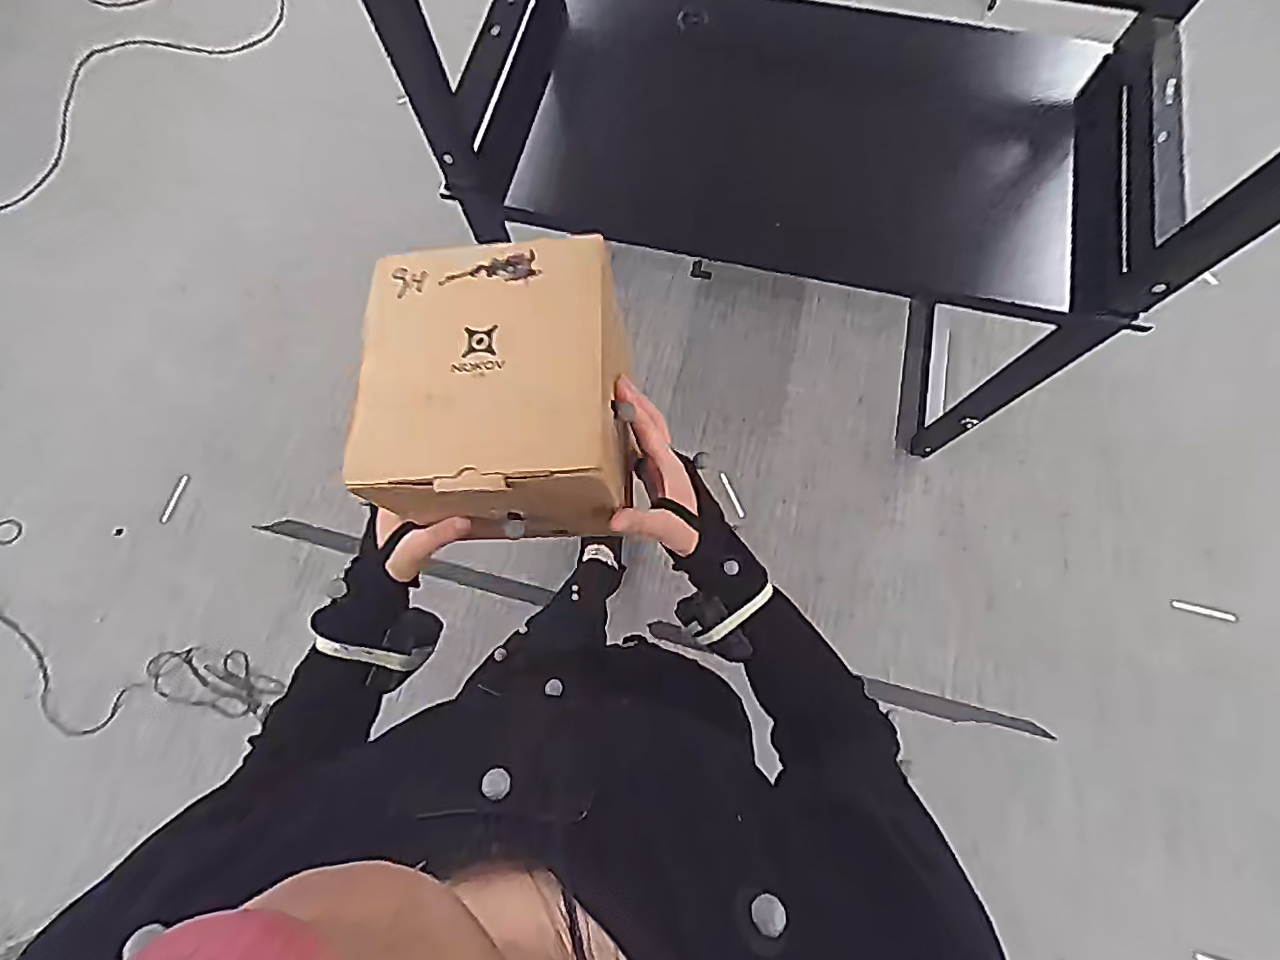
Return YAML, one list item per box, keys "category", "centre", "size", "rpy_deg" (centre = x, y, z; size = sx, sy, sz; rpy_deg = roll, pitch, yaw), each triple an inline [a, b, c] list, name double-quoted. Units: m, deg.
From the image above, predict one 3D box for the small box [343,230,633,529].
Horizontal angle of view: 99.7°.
- category: "small box"
  centre: [-0.096, -0.059, 0.424]
  size: [0.168, 0.176, 0.179]
  rpy_deg: [-3, 73, 5]
